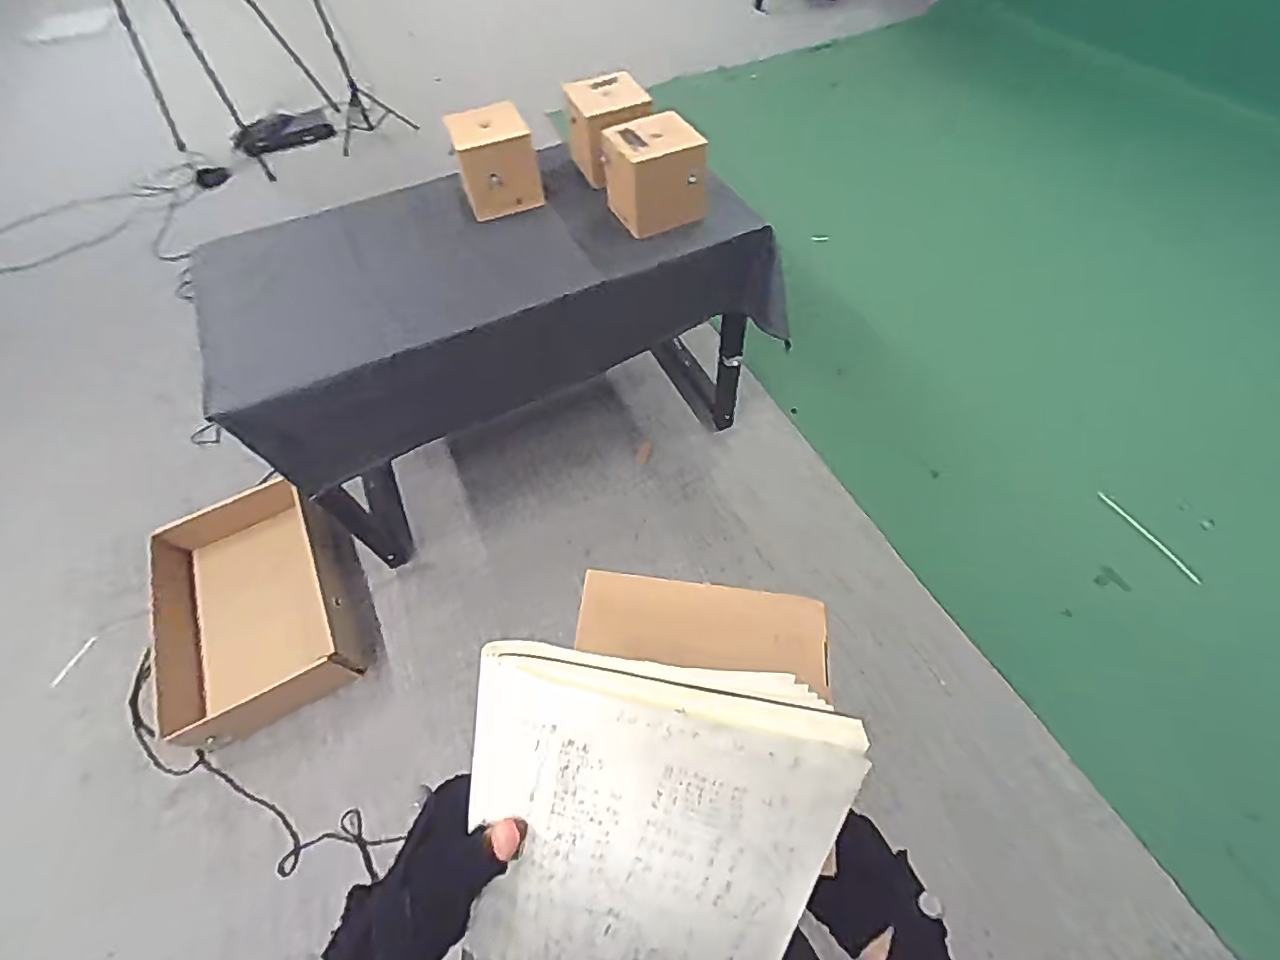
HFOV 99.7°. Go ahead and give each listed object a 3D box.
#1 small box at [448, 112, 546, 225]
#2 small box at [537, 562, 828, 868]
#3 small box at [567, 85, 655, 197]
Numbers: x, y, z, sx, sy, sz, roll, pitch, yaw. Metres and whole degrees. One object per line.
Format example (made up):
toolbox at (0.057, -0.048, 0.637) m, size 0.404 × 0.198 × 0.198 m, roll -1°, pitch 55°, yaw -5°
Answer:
small box at (-0.335, -0.731, 1.285) m, size 0.168 × 0.176 × 0.179 m, roll -20°, pitch 57°, yaw -10°
small box at (0.031, 0.180, 0.424) m, size 0.179 × 0.176 × 0.168 m, roll 8°, pitch 61°, yaw 1°
small box at (-0.069, -0.835, 1.336) m, size 0.168 × 0.176 × 0.179 m, roll -21°, pitch 58°, yaw -10°
